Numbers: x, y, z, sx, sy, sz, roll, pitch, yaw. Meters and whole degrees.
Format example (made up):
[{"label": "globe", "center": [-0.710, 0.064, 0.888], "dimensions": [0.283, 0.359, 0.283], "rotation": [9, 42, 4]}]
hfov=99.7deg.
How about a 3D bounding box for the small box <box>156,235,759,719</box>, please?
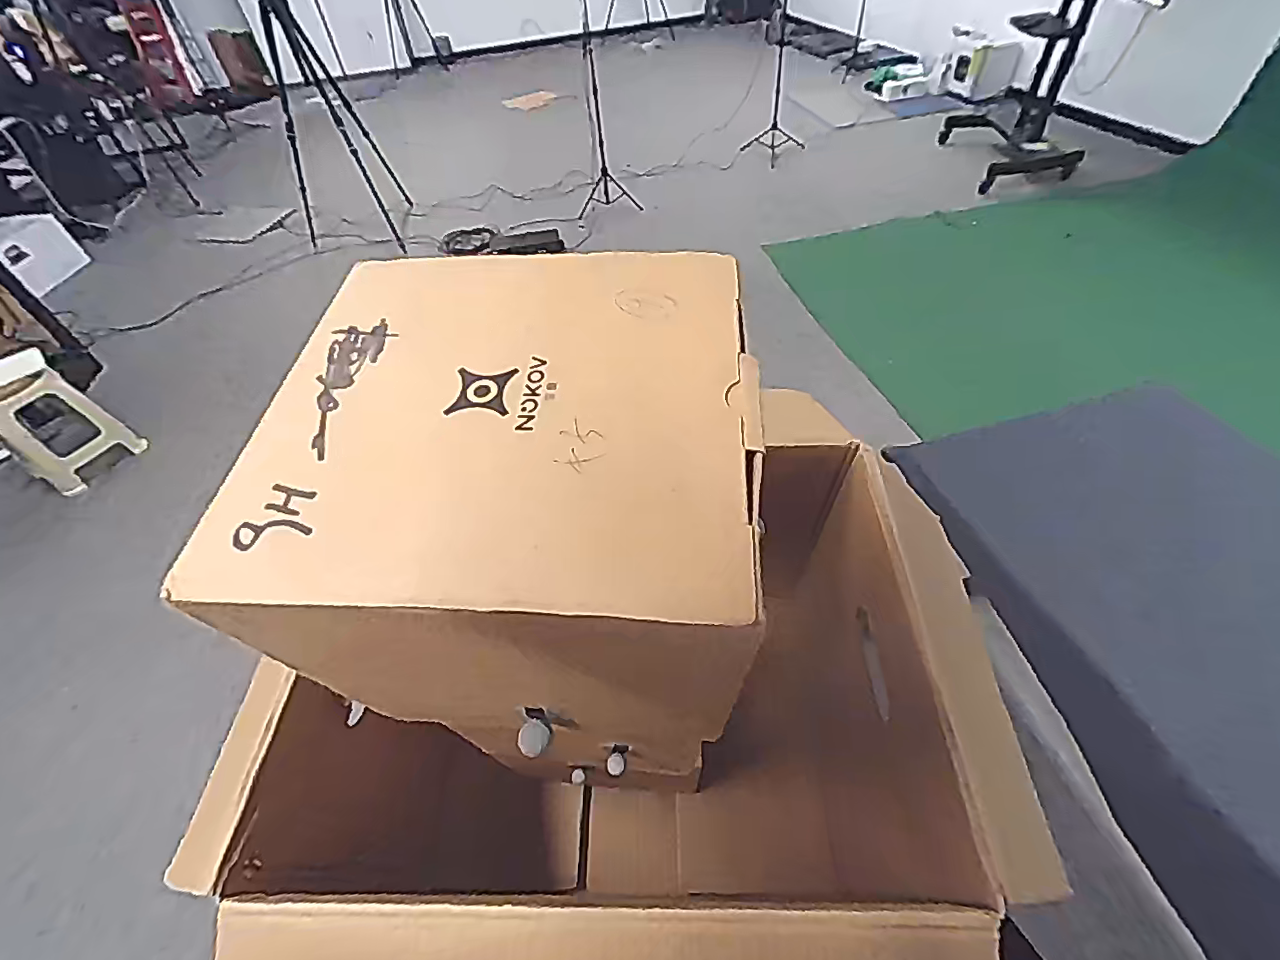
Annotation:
[{"label": "small box", "center": [-0.046, 0.009, 0.260], "dimensions": [0.179, 0.176, 0.168], "rotation": [2, 55, 4]}]
